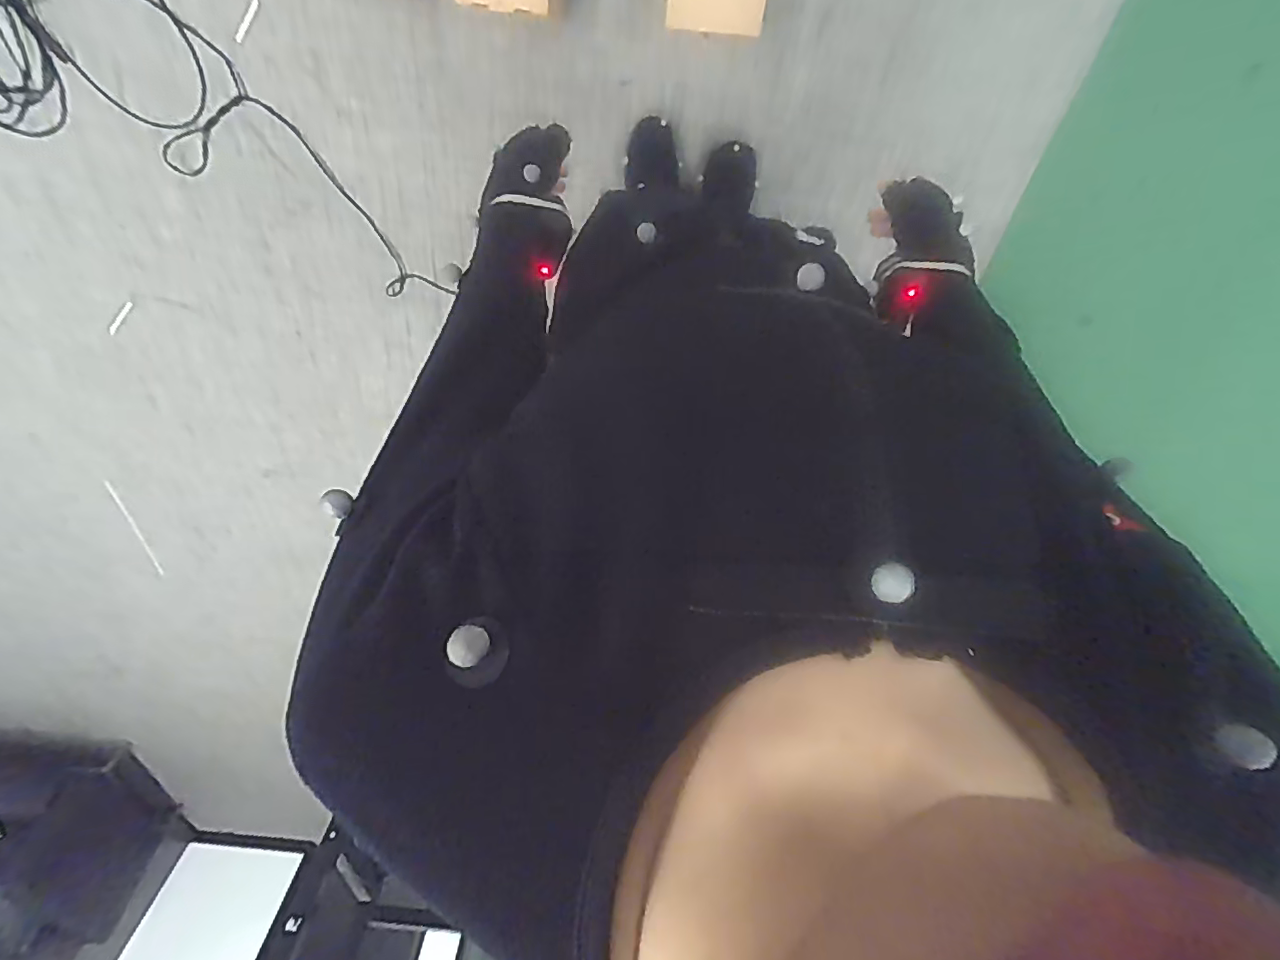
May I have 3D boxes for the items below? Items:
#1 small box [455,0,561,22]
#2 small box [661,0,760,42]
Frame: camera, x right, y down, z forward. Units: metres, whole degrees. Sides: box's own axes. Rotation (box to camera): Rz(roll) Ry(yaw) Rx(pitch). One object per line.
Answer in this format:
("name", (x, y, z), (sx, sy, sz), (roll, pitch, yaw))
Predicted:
("small box", (-0.229, -0.928, 0.944), (0.168, 0.176, 0.179), (6, 128, -2))
("small box", (0.129, -0.890, 0.950), (0.168, 0.176, 0.179), (5, 127, -1))
